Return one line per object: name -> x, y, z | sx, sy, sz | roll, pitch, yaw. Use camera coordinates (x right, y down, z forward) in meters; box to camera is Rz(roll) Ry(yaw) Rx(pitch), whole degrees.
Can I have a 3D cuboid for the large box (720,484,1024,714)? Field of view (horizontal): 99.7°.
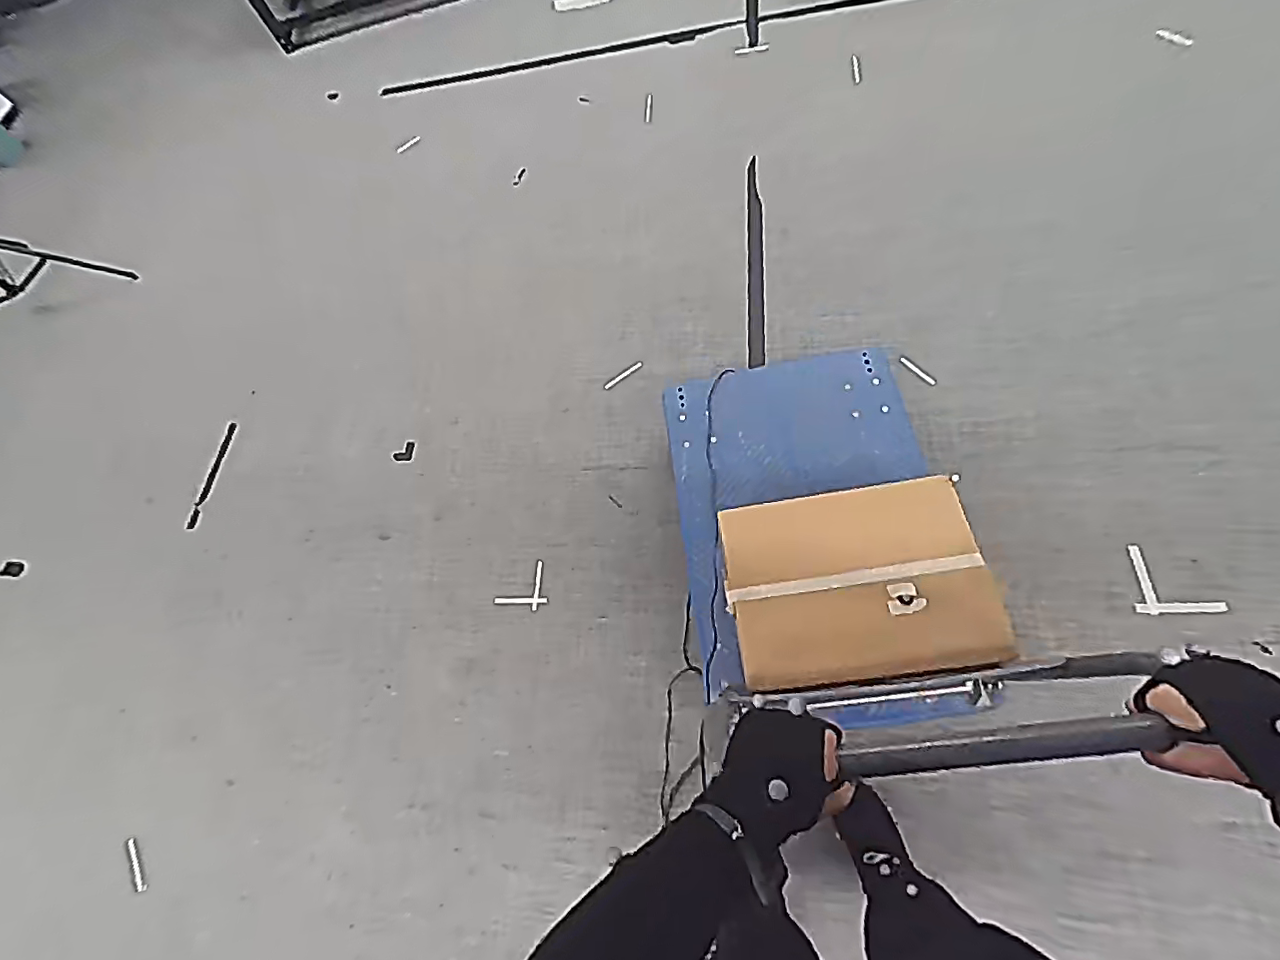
large box -> 0.377, 0.239, 1.005 | 0.408, 0.320, 0.320 | -9, 64, 6
